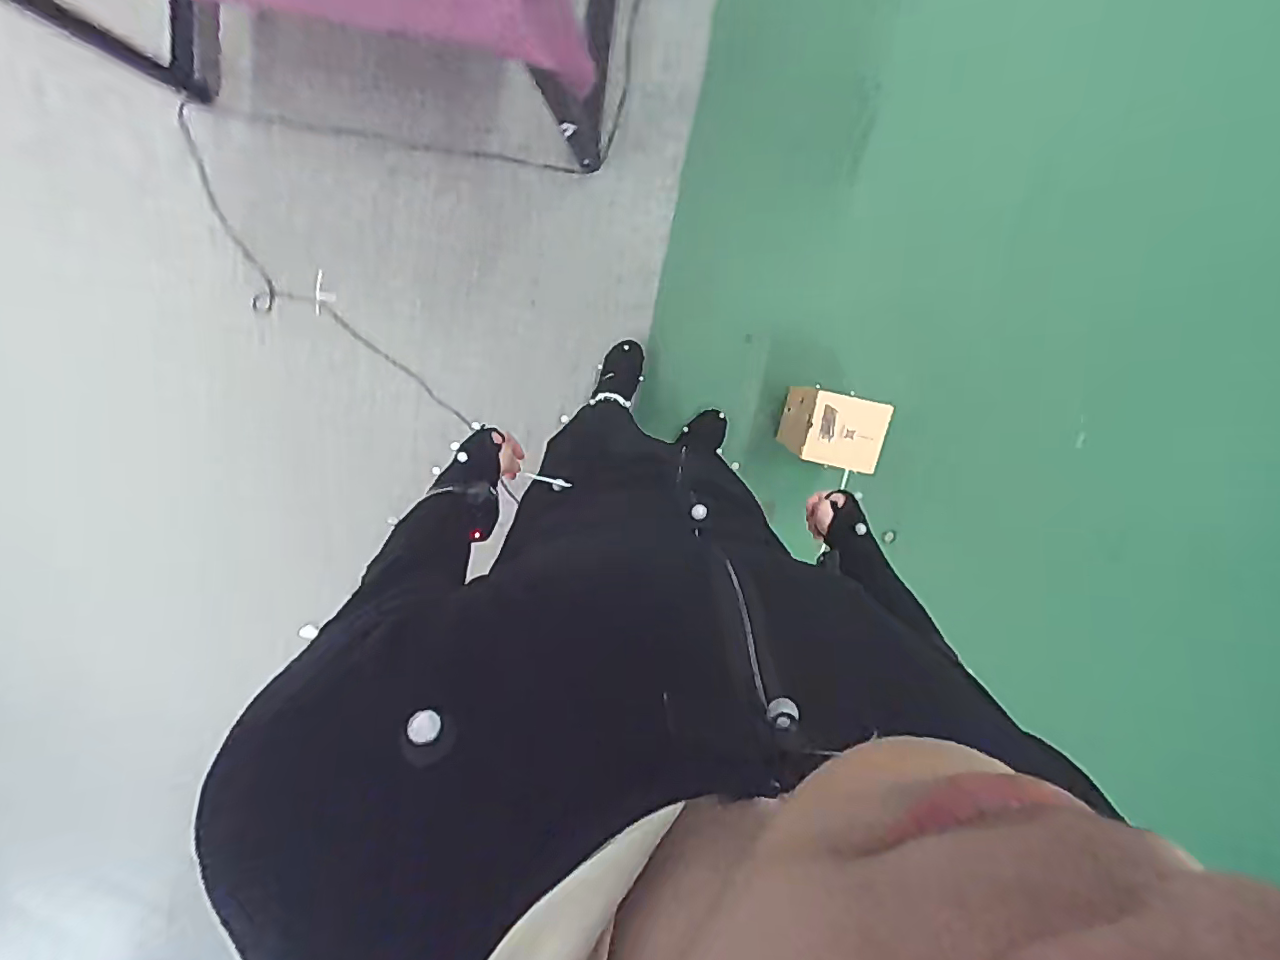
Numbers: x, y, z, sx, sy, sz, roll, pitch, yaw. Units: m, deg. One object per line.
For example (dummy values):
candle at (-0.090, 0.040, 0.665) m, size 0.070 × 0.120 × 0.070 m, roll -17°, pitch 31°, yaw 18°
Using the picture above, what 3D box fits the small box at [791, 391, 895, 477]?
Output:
small box at (0.484, -0.118, 1.323) m, size 0.179 × 0.176 × 0.168 m, roll 13°, pitch 102°, yaw 1°

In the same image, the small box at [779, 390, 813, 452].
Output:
small box at (0.497, -0.150, 1.483) m, size 0.179 × 0.176 × 0.168 m, roll 13°, pitch 102°, yaw 2°
